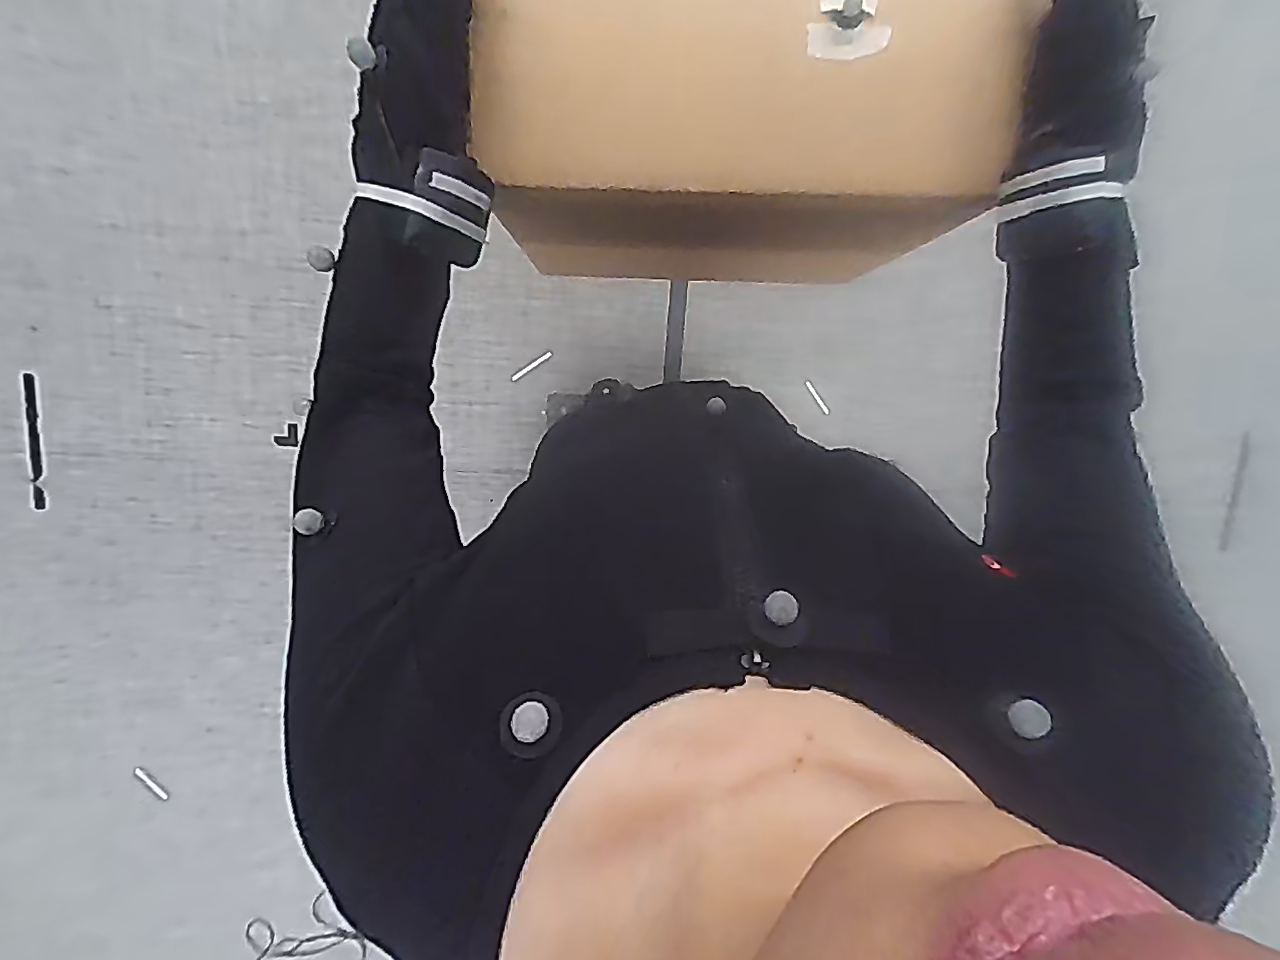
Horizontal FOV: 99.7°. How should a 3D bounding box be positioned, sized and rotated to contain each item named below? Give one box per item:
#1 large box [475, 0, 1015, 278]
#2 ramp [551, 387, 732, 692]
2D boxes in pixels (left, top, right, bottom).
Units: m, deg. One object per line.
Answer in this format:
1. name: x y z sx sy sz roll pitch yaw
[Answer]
1. large box: 0.073 -0.395 0.538 0.408 0.320 0.320 1 99 -1
2. ramp: -0.017 0.228 1.617 0.509 0.206 0.991 1 100 -3
